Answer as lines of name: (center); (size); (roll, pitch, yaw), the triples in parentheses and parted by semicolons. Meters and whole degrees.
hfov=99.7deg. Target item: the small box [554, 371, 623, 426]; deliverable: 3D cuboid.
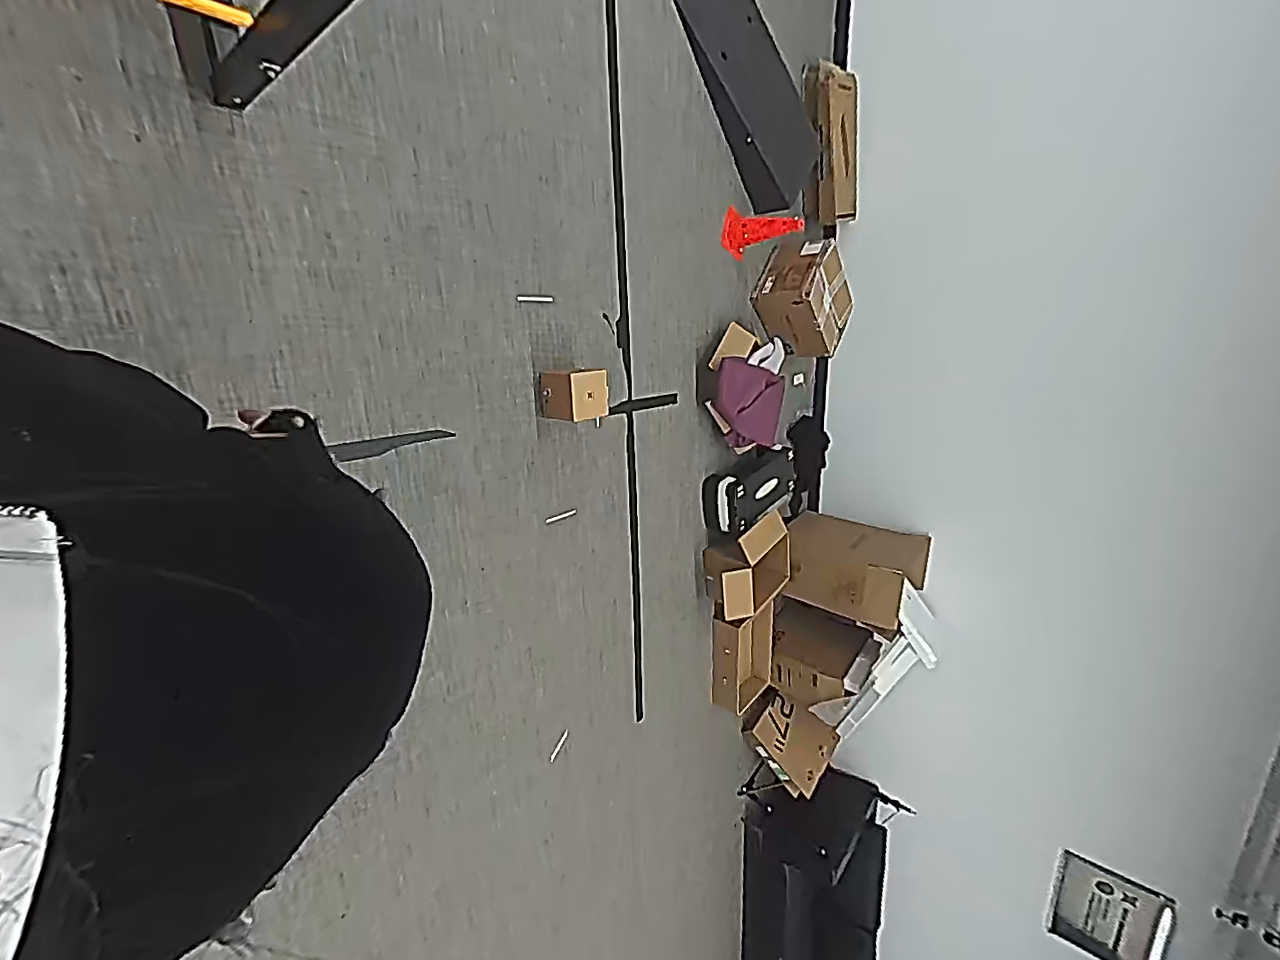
small box: (-0.179, -0.290, 1.902); (0.179, 0.176, 0.168); (-20, 114, -45)
